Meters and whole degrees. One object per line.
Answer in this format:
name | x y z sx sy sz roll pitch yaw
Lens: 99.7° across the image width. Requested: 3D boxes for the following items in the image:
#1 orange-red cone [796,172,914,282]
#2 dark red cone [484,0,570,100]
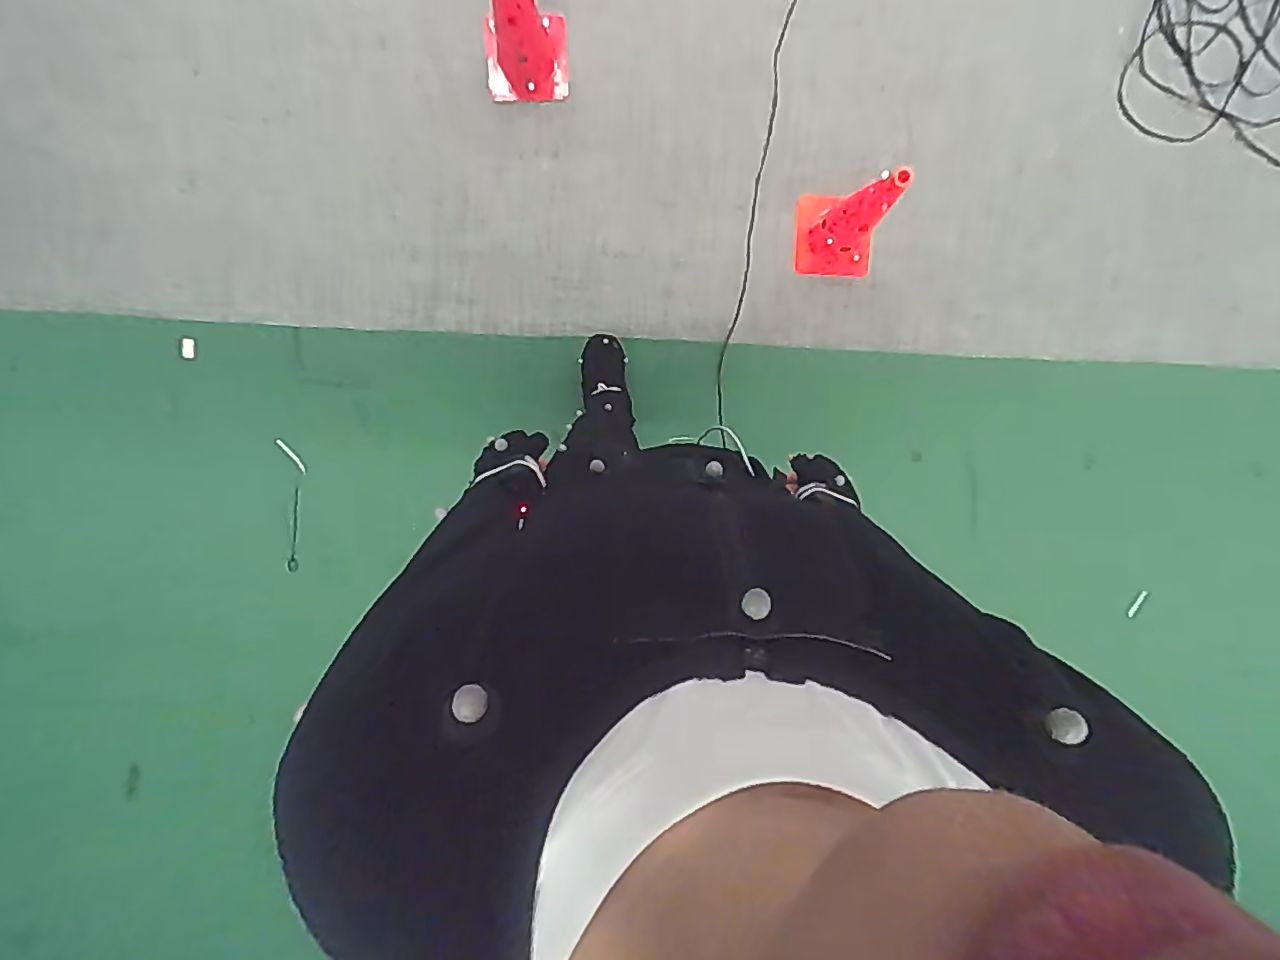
orange-red cone | 0.518 -0.613 1.249 0.198 0.360 0.199 2 94 -3
dark red cone | -0.271 -1.021 1.163 0.202 0.394 0.201 -4 97 -1
